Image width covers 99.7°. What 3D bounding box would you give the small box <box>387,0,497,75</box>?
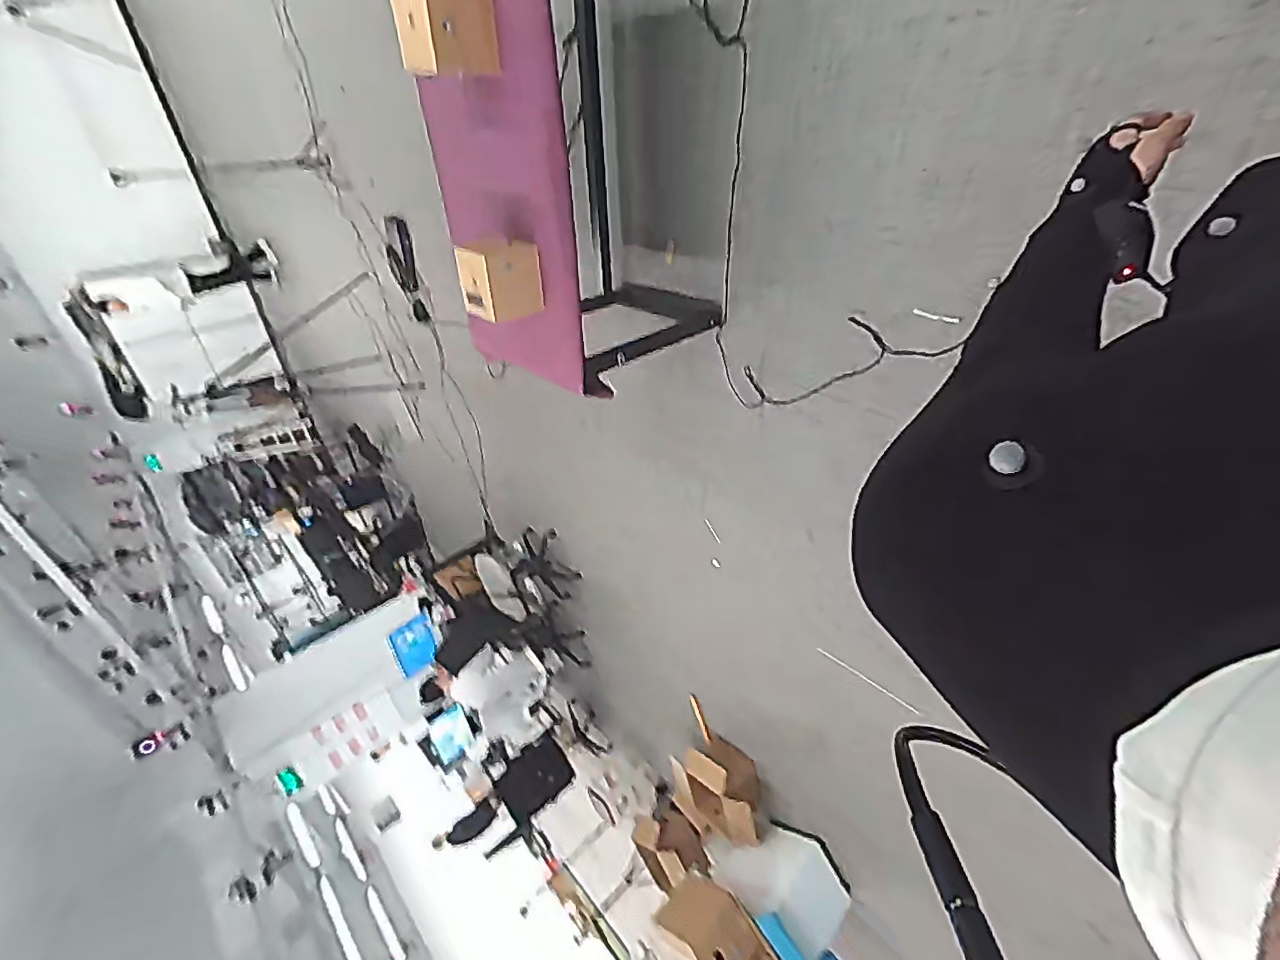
[{"bbox_3d":[-0.448,-1.037,1.229,0.168,0.176,0.179,32,138,33],"label":"small box"}]
